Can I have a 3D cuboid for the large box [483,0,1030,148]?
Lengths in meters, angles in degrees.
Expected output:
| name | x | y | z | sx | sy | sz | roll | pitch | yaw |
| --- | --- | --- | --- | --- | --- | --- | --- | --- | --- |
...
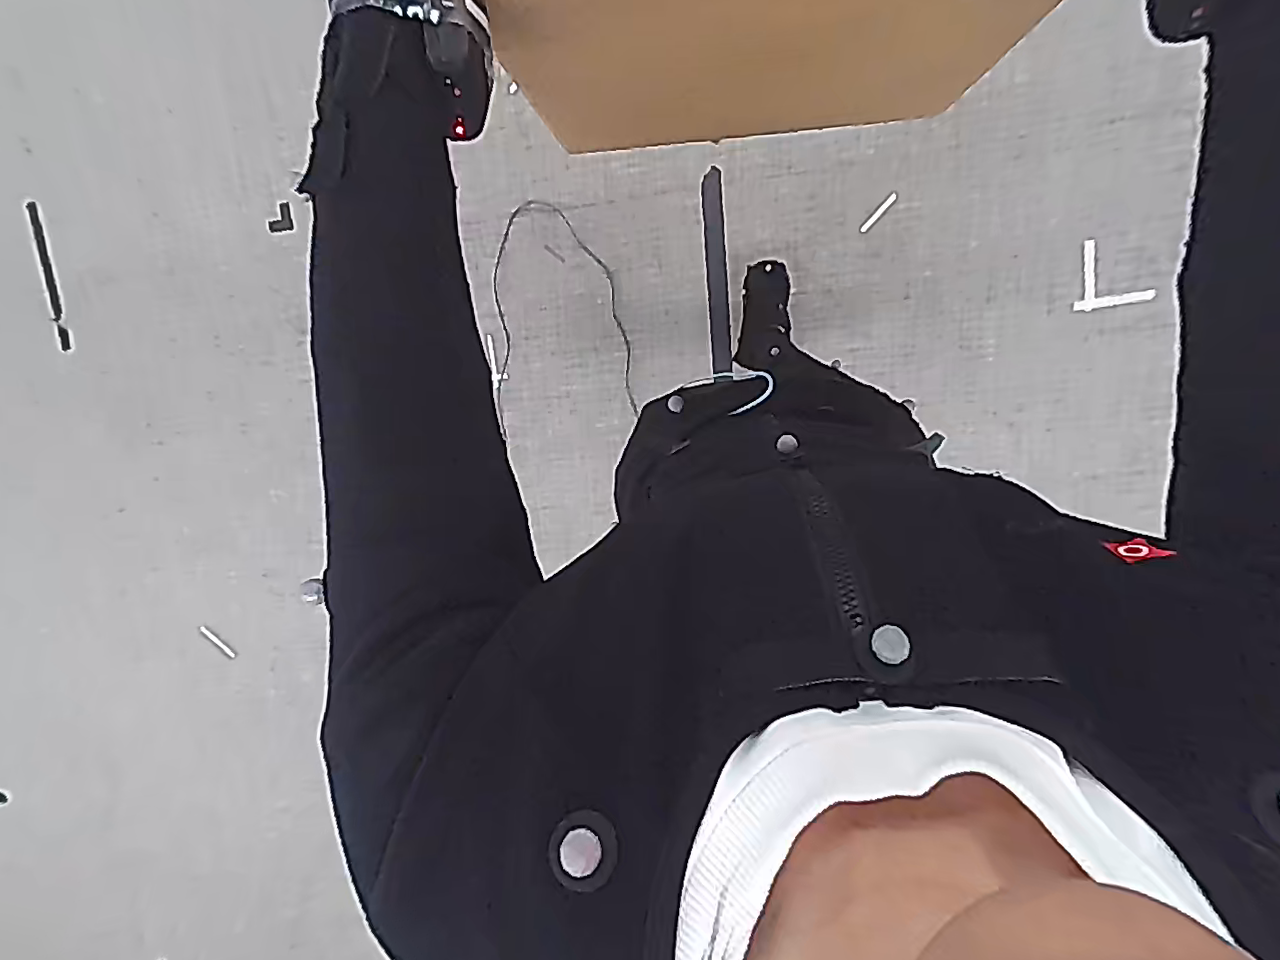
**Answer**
| name | x | y | z | sx | sy | sz | roll | pitch | yaw |
| --- | --- | --- | --- | --- | --- | --- | --- | --- | --- |
| large box | 0.089 | -0.498 | 0.415 | 0.408 | 0.320 | 0.320 | -3 | 105 | 6 |
